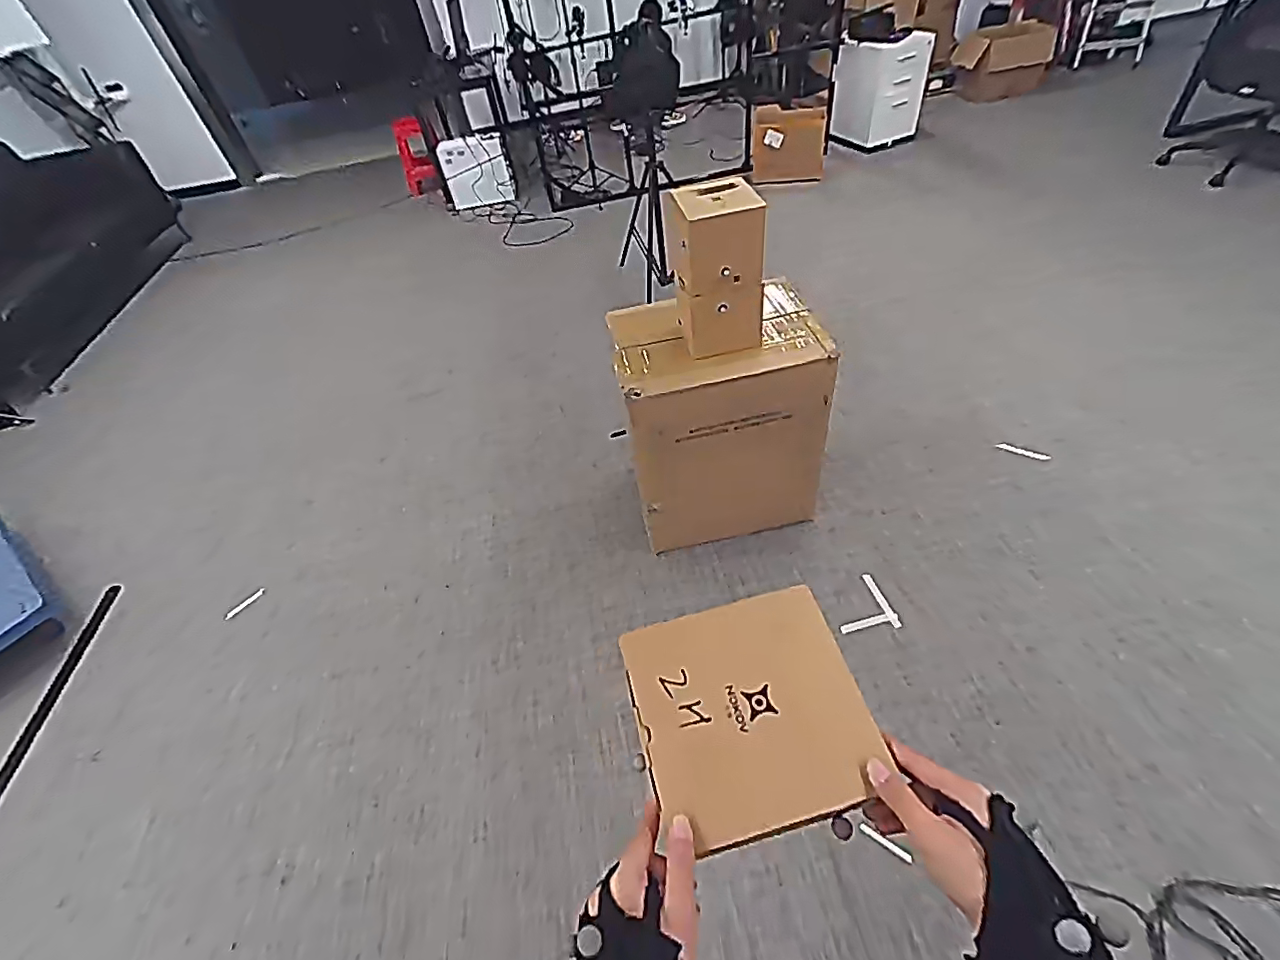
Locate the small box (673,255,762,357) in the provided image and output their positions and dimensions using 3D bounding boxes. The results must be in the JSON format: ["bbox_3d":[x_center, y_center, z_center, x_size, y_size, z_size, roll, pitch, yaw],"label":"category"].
[{"bbox_3d":[0.188,-0.419,1.318,0.179,0.176,0.168,-12,47,-2],"label":"small box"}]

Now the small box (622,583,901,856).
[{"bbox_3d":[0.090,0.219,0.487,0.179,0.176,0.168,-14,53,-5],"label":"small box"}]
